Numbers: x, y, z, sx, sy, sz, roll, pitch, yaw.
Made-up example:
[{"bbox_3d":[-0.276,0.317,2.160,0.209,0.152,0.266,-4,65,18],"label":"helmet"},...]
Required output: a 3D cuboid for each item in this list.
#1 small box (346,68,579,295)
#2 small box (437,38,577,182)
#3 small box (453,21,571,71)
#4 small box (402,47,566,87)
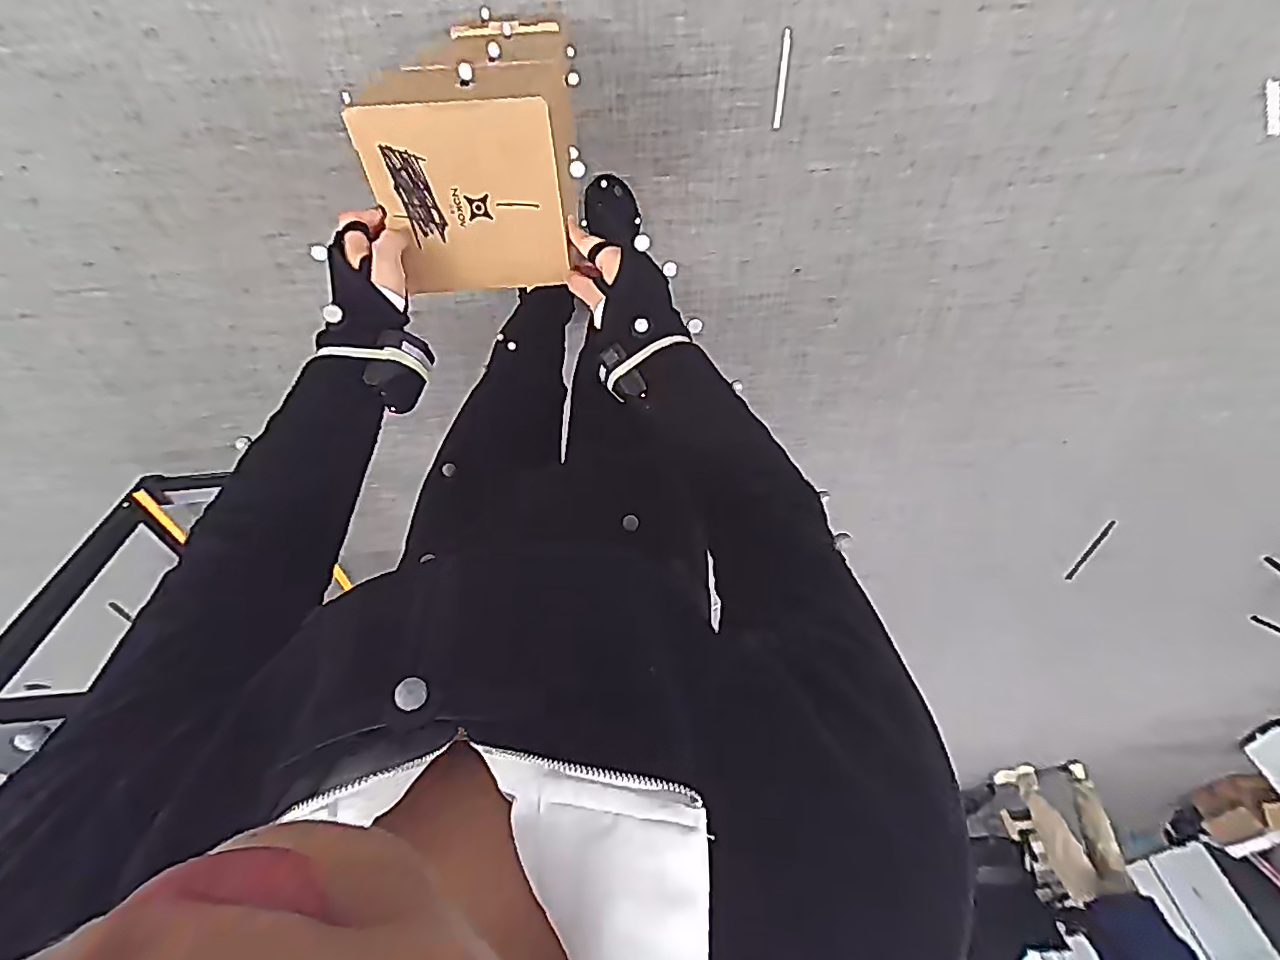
[{"bbox_3d":[-0.161,-0.311,0.562,0.179,0.176,0.168,-3,136,0],"label":"small box"},{"bbox_3d":[-0.185,-0.545,0.809,0.168,0.176,0.179,-3,134,-1],"label":"small box"},{"bbox_3d":[-0.203,-0.664,0.922,0.168,0.176,0.179,-4,135,0],"label":"small box"},{"bbox_3d":[-0.175,-0.430,0.691,0.168,0.176,0.179,-3,134,-1],"label":"small box"}]
